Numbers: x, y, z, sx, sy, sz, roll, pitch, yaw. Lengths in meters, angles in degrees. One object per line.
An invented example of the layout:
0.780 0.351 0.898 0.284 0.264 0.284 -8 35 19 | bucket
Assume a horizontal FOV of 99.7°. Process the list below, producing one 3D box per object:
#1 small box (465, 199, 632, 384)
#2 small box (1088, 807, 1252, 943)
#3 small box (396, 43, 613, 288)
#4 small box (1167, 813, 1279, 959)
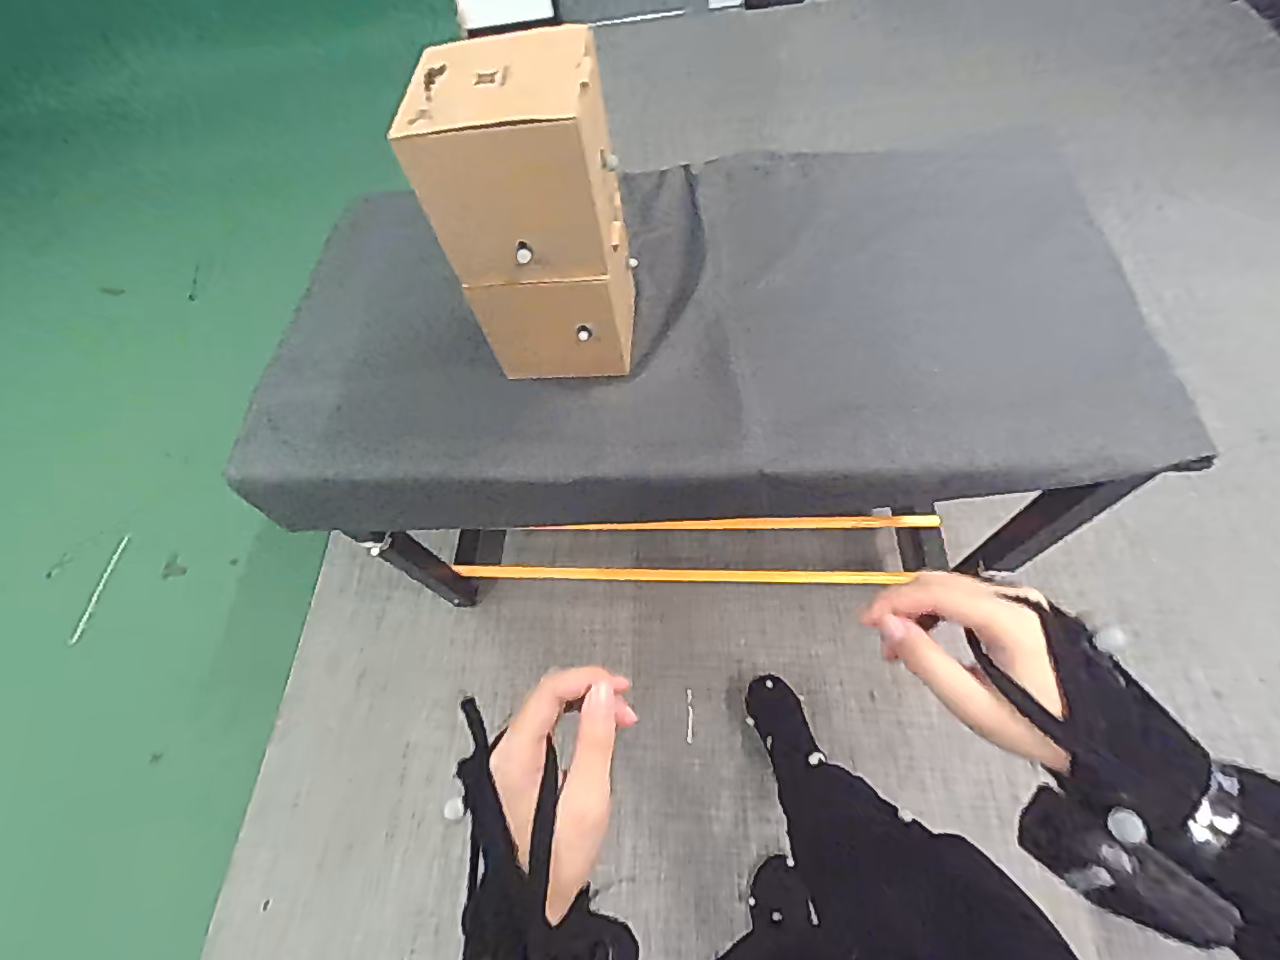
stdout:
-0.106 -0.244 0.727 0.179 0.176 0.168 -1 59 7 | small box
0.934 0.660 0.921 0.179 0.176 0.168 -7 60 4 | small box
-0.126 -0.332 0.589 0.179 0.176 0.168 -2 60 6 | small box
0.928 0.581 0.777 0.179 0.176 0.168 -5 61 3 | small box
